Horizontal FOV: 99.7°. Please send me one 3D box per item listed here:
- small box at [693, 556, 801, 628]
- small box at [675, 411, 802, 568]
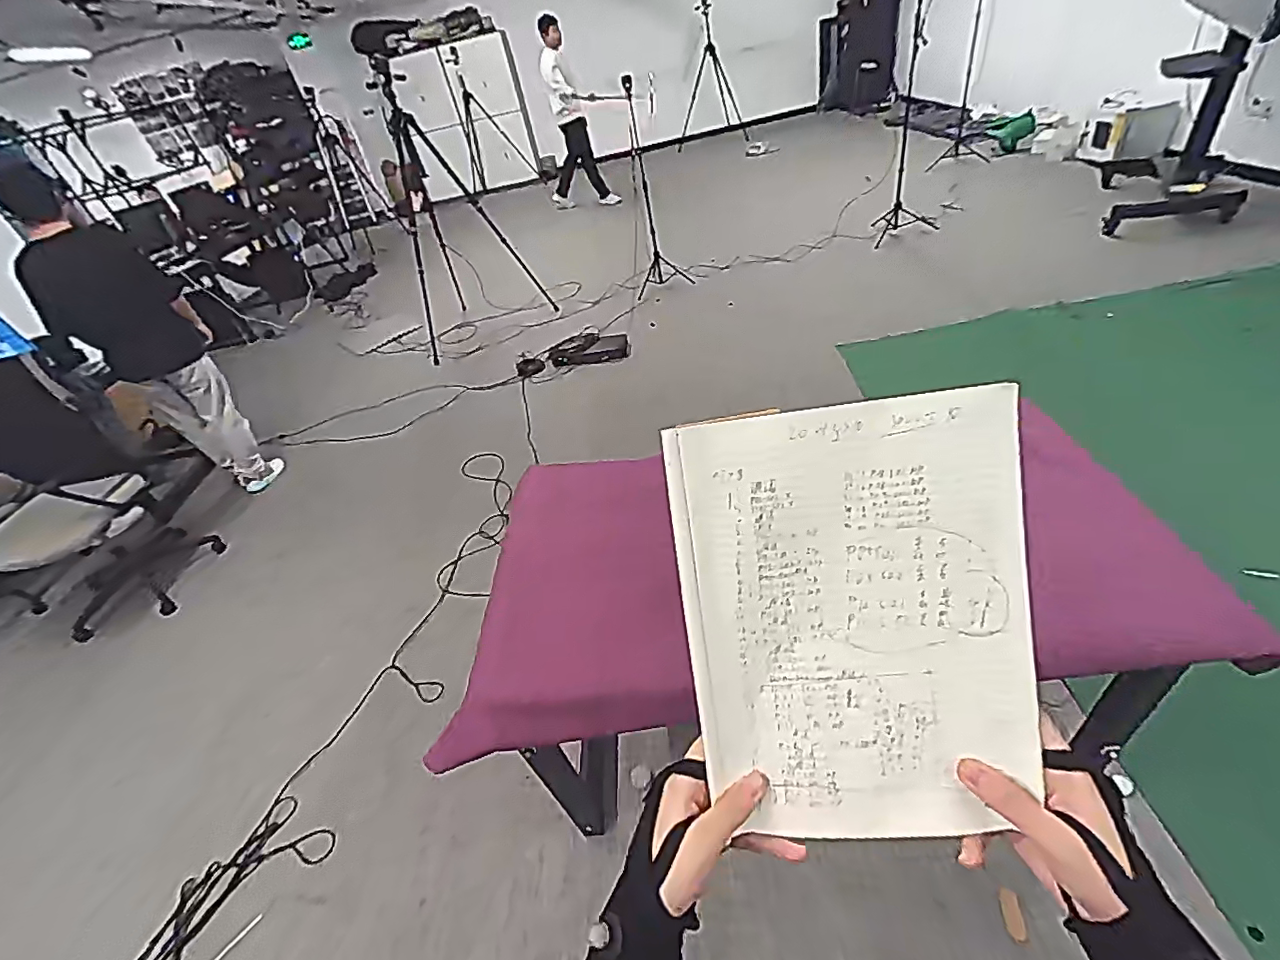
[{"bbox_3d":[0.181,0.141,0.940,0.168,0.176,0.179,-8,40,7],"label":"small box"},{"bbox_3d":[0.149,0.020,0.831,0.168,0.176,0.179,-9,38,7],"label":"small box"}]
